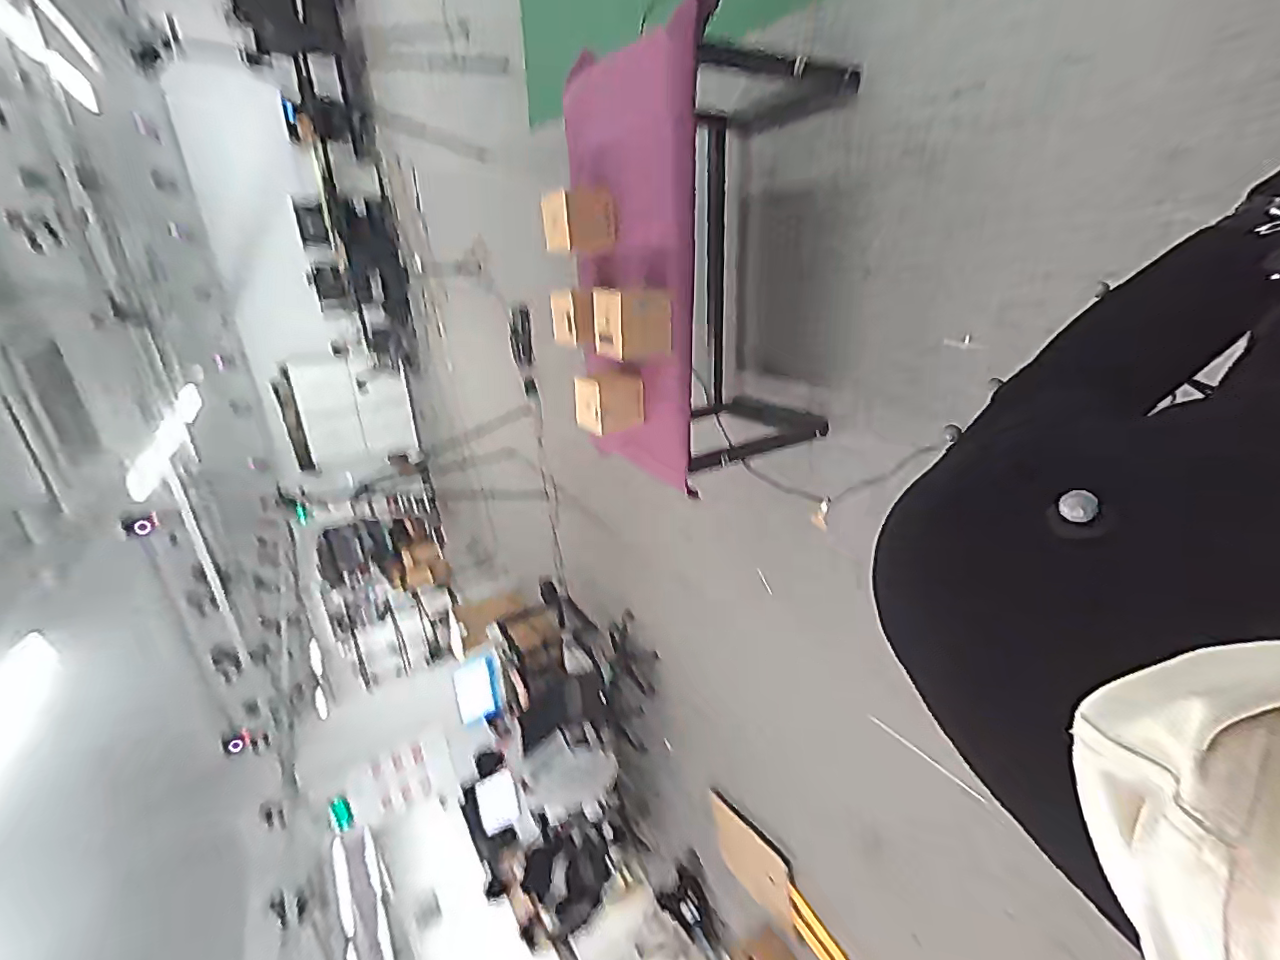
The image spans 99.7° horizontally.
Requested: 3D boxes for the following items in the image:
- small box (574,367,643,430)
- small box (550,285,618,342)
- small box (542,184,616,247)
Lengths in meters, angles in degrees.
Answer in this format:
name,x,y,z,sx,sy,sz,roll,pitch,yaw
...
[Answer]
name,x,y,z,sx,sy,sz,roll,pitch,yaw
small box,-0.105,-0.278,1.806,0.179,0.176,0.168,31,130,52
small box,-0.183,-0.563,1.812,0.179,0.176,0.168,29,127,53
small box,-0.190,-0.827,1.703,0.179,0.176,0.168,27,127,52
